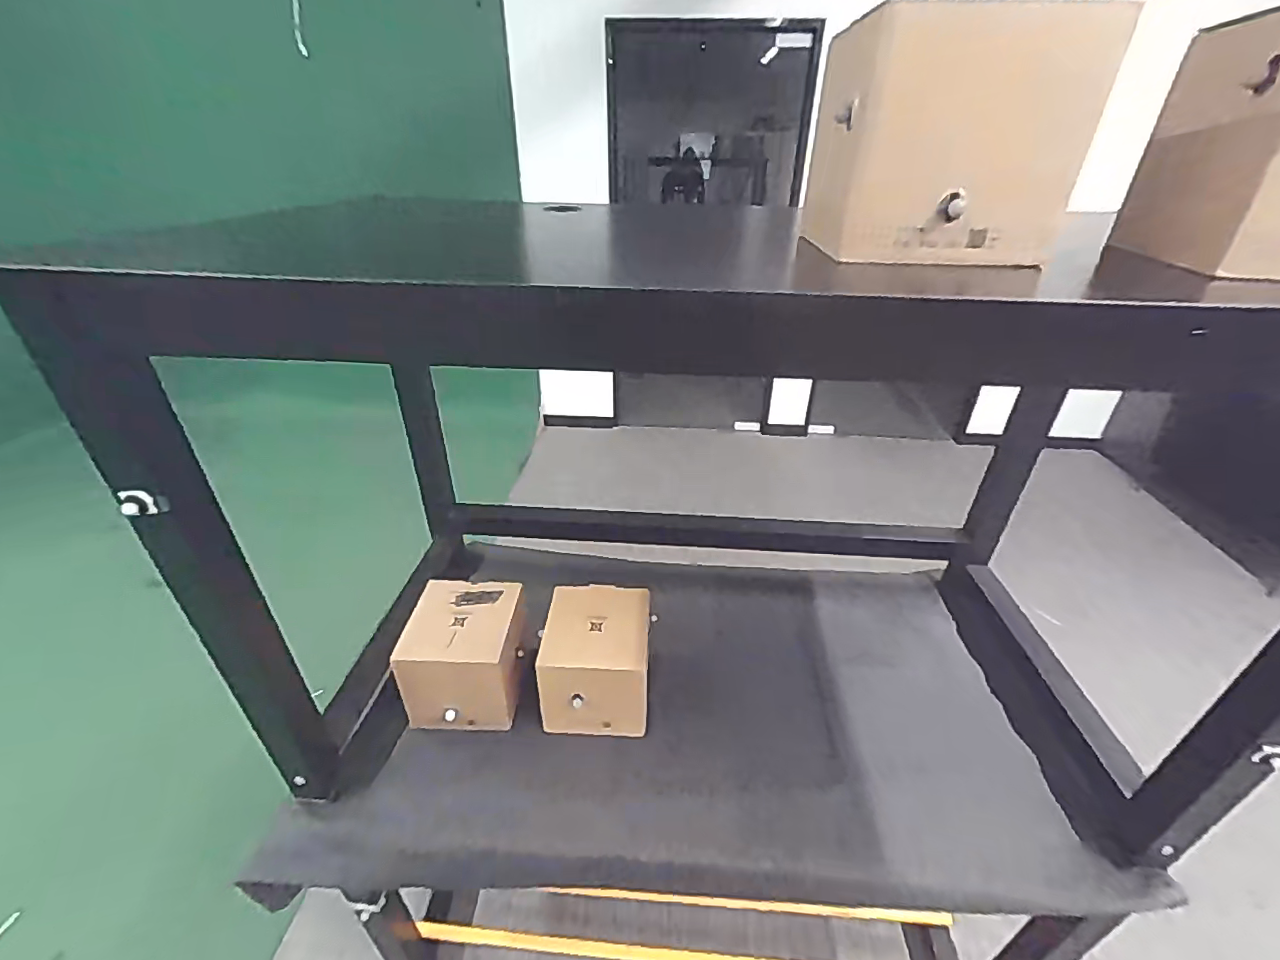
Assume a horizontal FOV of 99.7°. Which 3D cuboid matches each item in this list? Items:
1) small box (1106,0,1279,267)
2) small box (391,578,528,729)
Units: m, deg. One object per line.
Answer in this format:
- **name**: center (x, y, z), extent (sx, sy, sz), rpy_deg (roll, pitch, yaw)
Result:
- **small box**: center (0.512, -0.255, 0.406), extent (0.168, 0.176, 0.179), rpy_deg (8, 32, 12)
- **small box**: center (-0.289, 0.288, 0.912), extent (0.168, 0.176, 0.179), rpy_deg (1, 32, 1)
